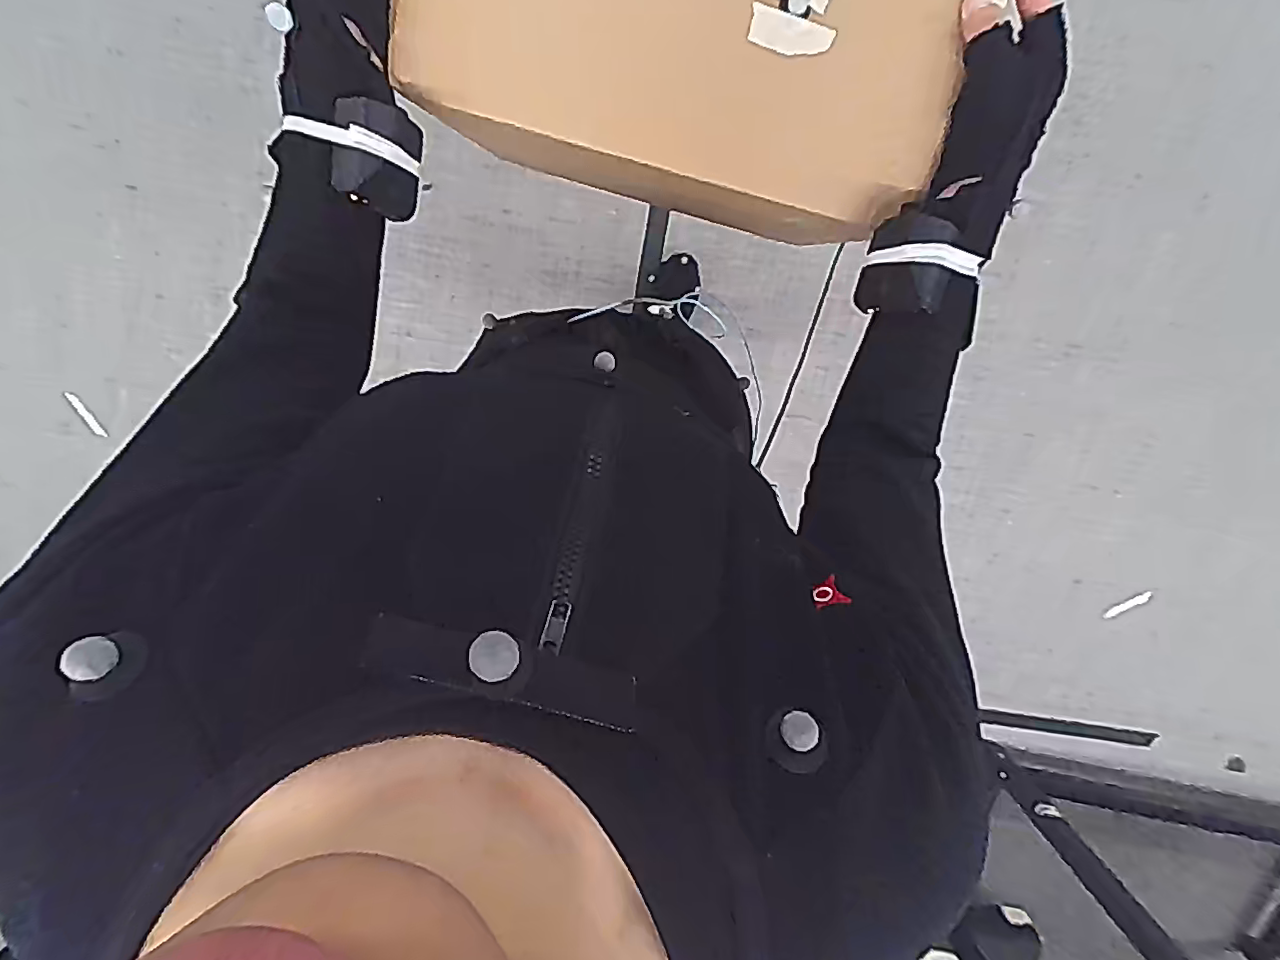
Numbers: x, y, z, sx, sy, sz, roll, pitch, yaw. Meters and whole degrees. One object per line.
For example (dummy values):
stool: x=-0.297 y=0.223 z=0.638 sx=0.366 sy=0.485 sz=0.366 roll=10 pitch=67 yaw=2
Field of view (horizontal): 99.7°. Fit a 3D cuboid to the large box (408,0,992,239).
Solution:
large box: x=0.051 y=-0.434 z=0.496 sx=0.408 sy=0.320 sz=0.320 roll=13 pitch=113 yaw=-6
